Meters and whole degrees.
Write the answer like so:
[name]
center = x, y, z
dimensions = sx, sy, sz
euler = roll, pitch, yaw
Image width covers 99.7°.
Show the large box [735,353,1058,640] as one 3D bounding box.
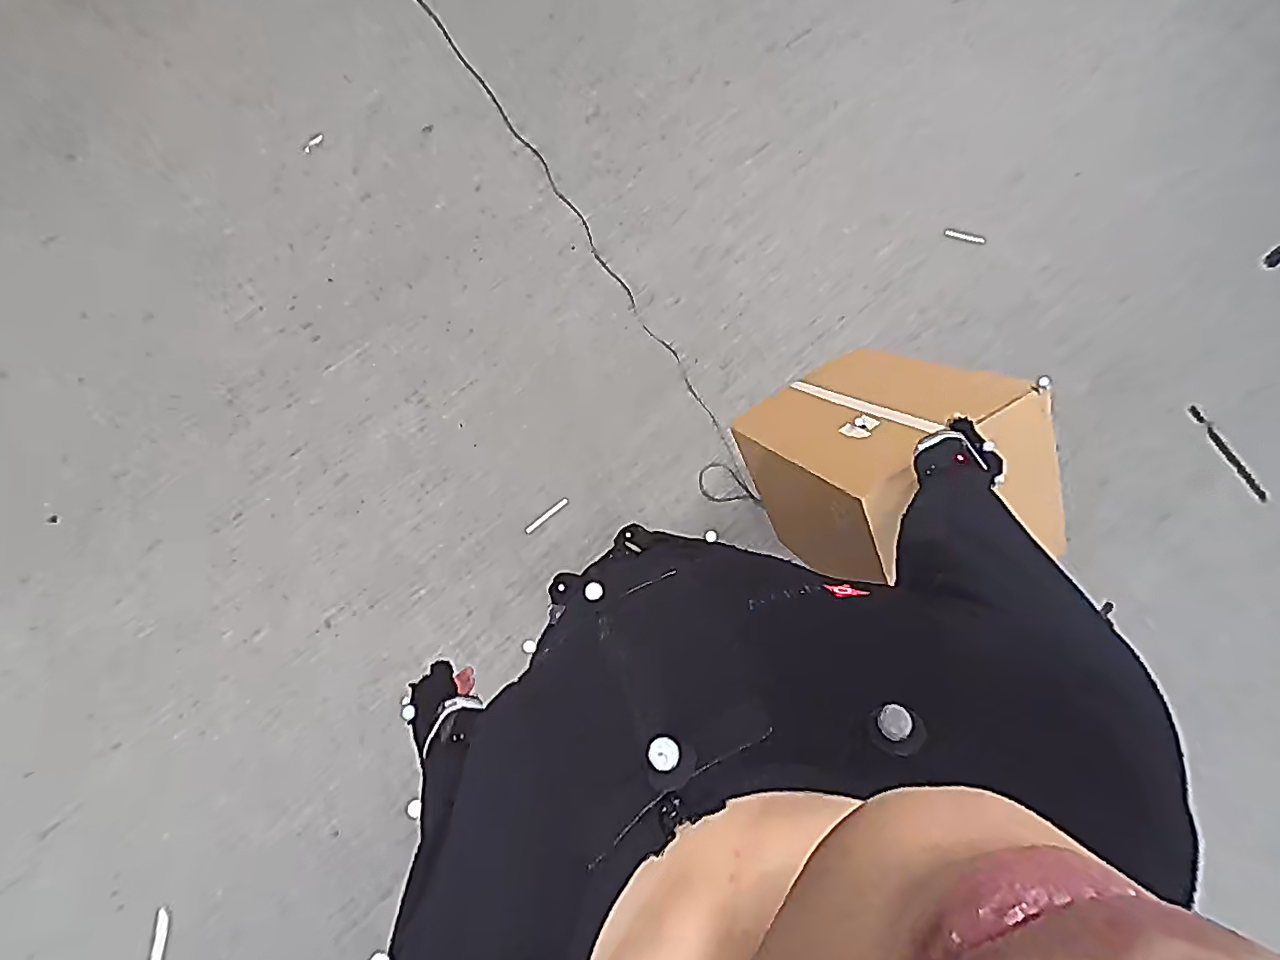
[large box]
center = 0.438, 0.001, 0.978
dimensions = 0.320, 0.408, 0.320
euler = -32, 117, -5
